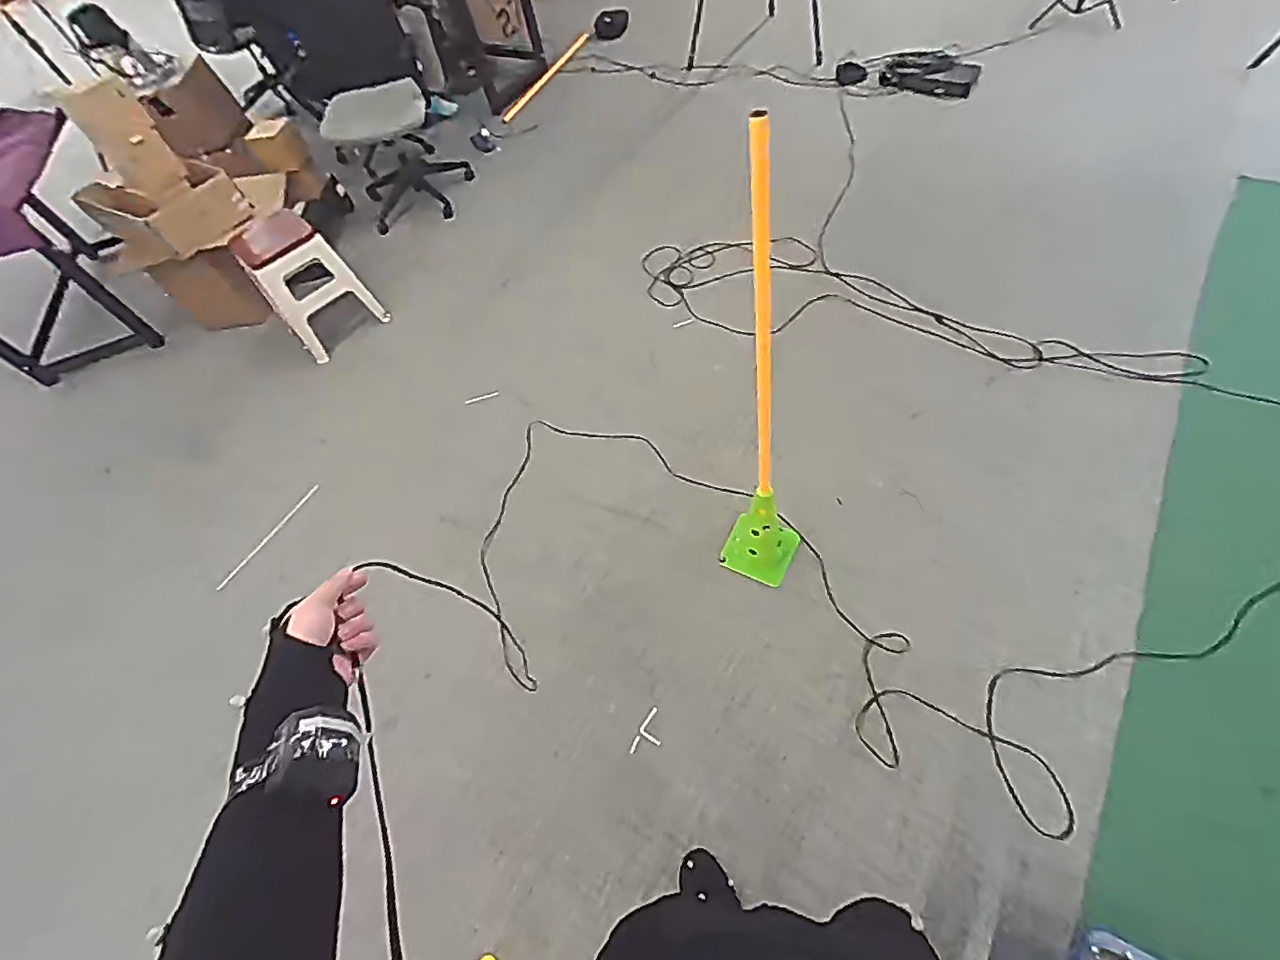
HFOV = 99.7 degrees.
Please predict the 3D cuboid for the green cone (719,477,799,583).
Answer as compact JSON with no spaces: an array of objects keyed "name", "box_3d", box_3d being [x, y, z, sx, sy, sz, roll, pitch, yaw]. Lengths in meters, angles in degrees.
[{"name":"green cone","box_3d":[0.345,0.110,1.517,0.200,0.368,0.202,21,63,21]}]
